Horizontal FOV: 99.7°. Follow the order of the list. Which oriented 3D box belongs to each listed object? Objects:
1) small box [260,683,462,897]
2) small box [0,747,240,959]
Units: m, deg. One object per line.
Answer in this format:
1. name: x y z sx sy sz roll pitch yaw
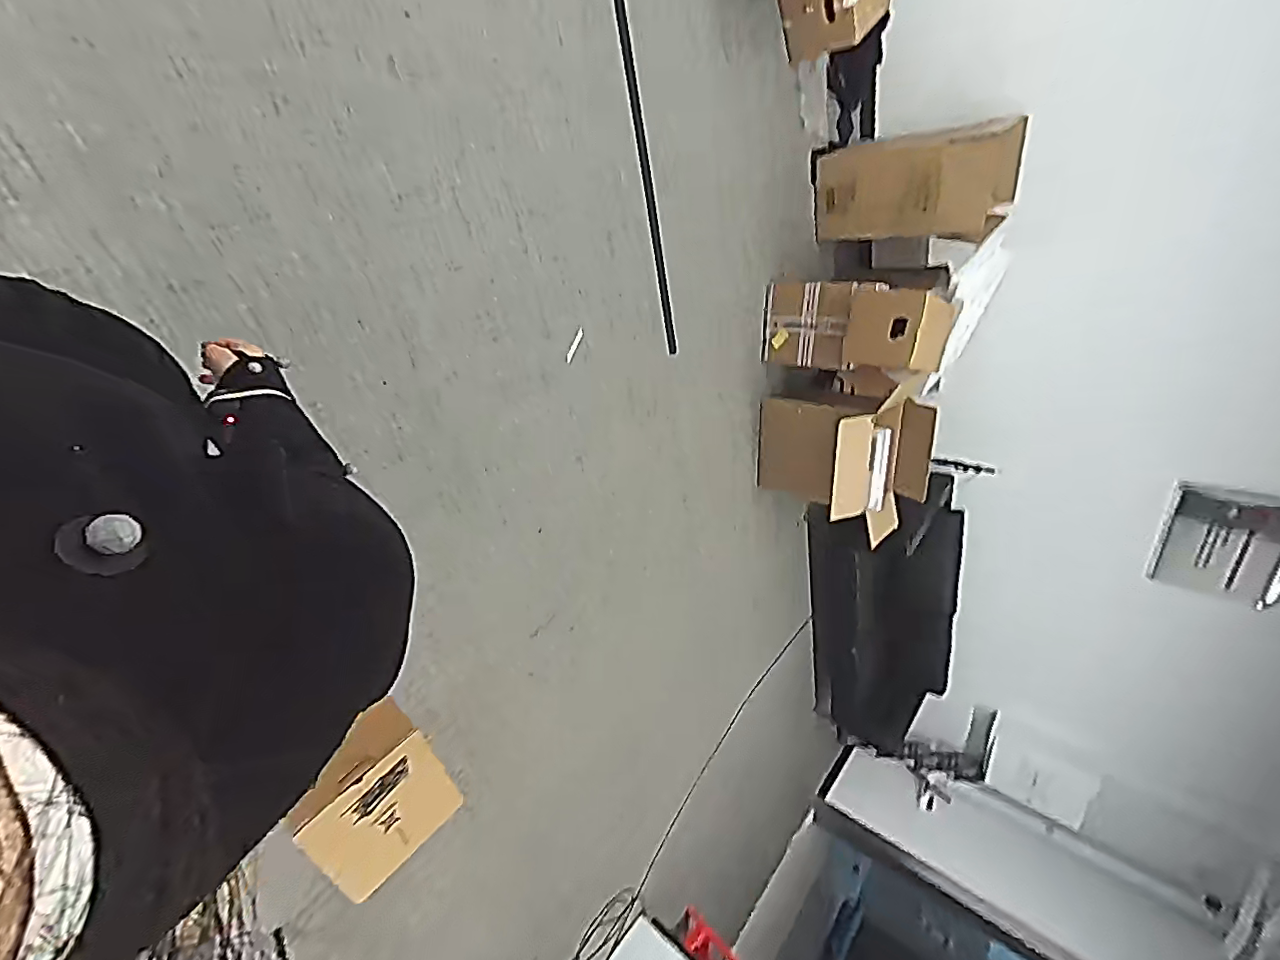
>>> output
1. small box: -0.389 0.415 0.757 0.168 0.176 0.179 -36 127 -35
2. small box: -0.679 0.490 0.712 0.168 0.176 0.179 -34 126 -38
